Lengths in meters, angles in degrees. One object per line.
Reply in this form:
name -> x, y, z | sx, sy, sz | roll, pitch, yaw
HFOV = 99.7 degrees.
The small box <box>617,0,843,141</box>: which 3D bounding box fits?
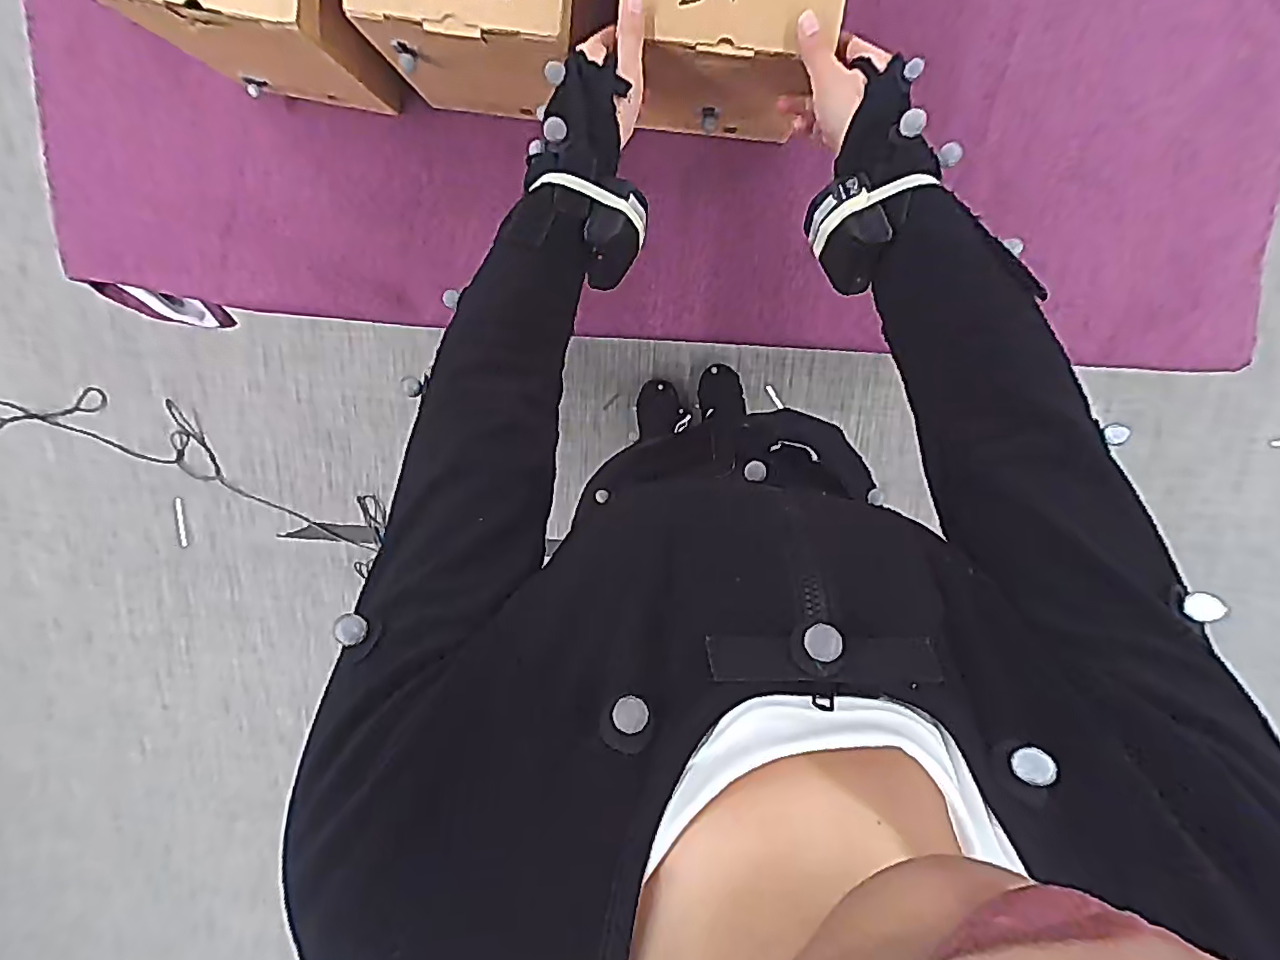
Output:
small box -> 0.075, -0.423, 0.458 | 0.168, 0.176, 0.179 | 7, 104, 1
